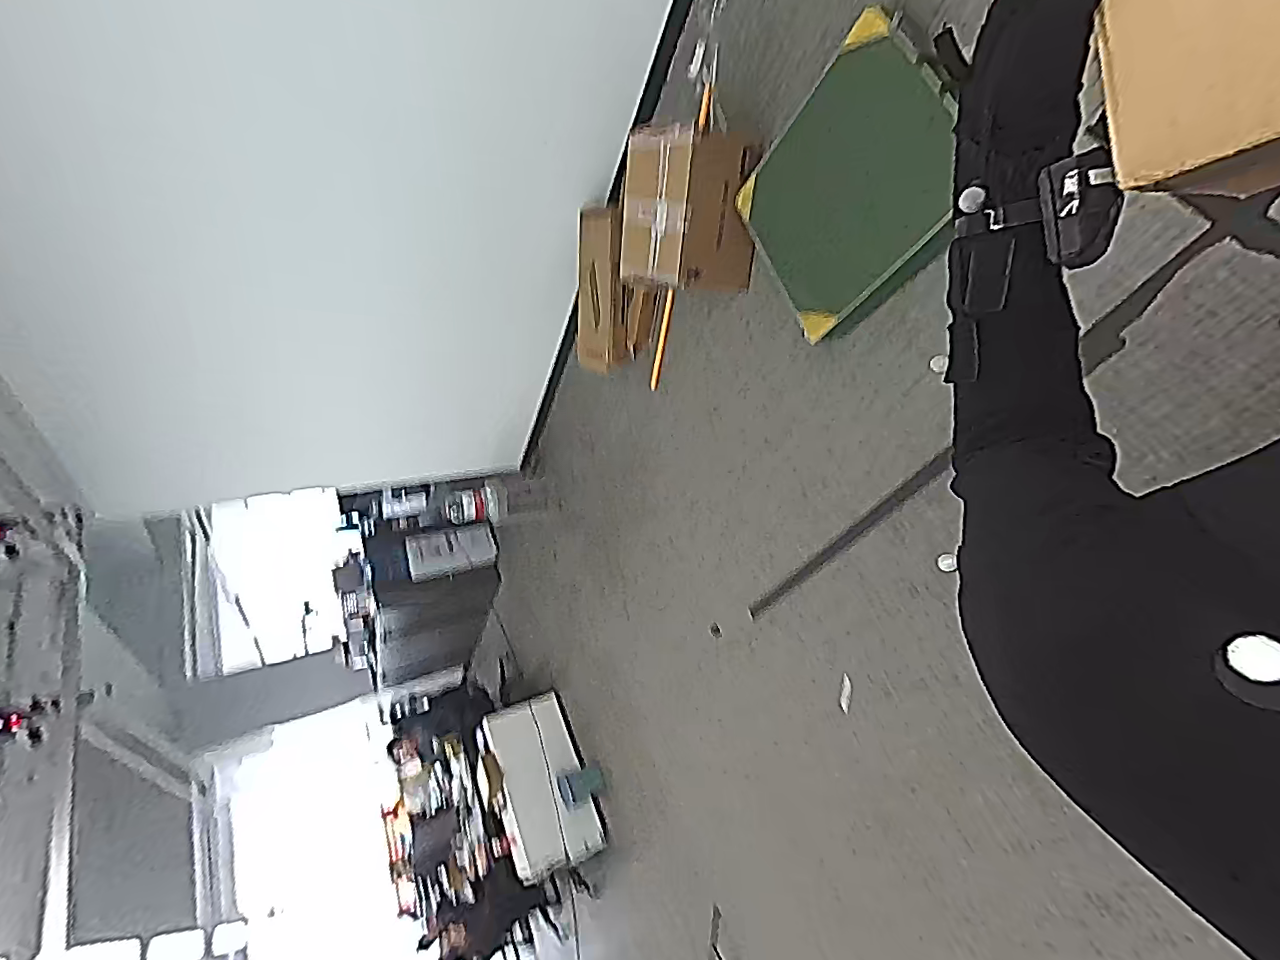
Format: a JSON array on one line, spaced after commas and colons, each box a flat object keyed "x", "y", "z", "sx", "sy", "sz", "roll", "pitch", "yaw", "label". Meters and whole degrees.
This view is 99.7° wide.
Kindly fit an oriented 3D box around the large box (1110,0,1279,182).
[{"x": 0.476, "y": -0.373, "z": 0.213, "sx": 0.408, "sy": 0.320, "sz": 0.320, "roll": -3, "pitch": 104, "yaw": 57, "label": "large box"}]
